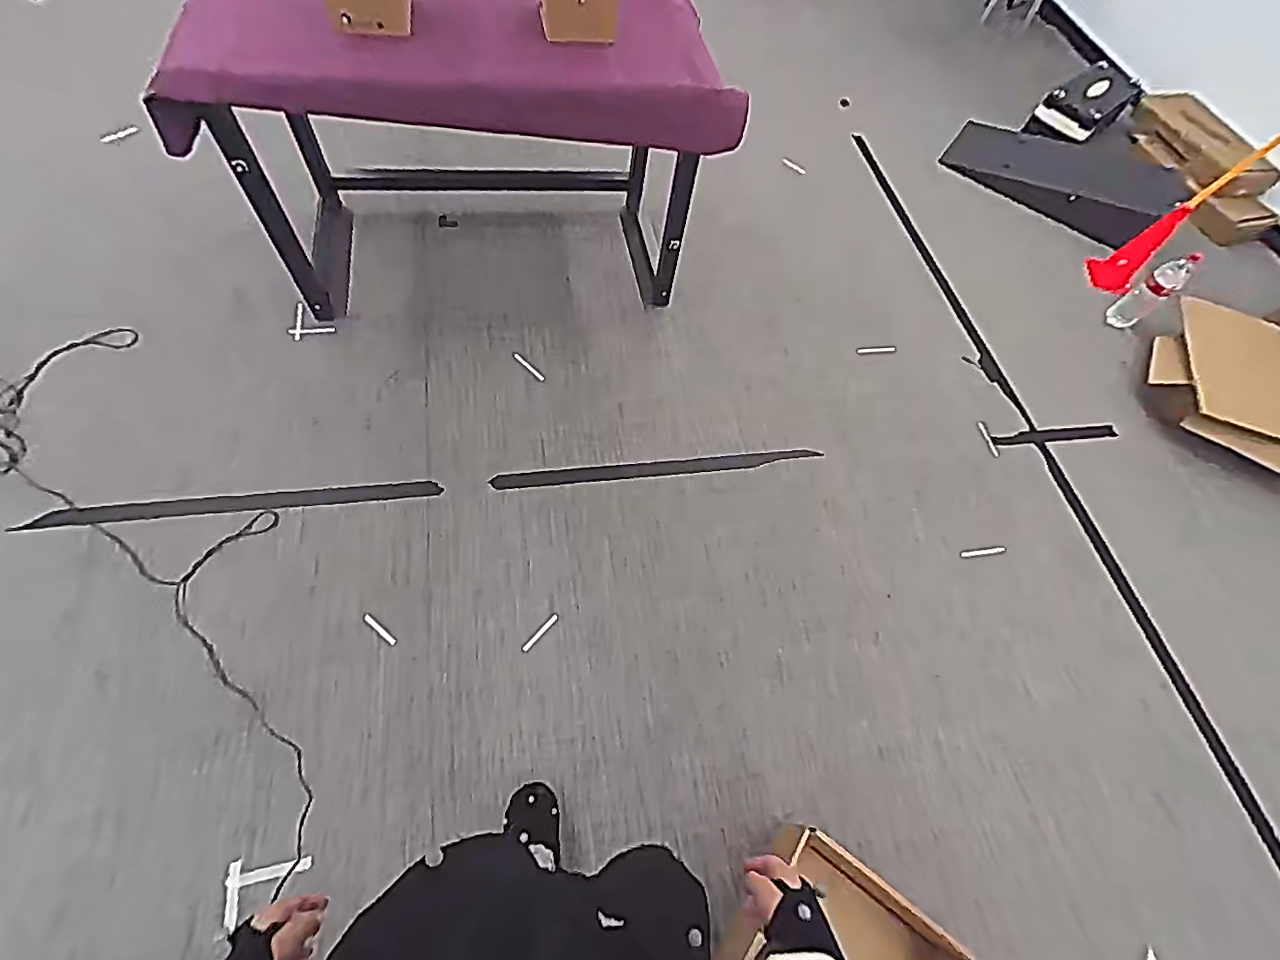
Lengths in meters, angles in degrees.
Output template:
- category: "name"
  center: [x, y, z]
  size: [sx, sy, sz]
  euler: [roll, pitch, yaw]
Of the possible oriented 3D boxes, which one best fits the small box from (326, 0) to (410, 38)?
- category: "small box"
  center: [-0.629, -1.145, 1.229]
  size: [0.168, 0.176, 0.179]
  euler: [-6, 63, -11]
